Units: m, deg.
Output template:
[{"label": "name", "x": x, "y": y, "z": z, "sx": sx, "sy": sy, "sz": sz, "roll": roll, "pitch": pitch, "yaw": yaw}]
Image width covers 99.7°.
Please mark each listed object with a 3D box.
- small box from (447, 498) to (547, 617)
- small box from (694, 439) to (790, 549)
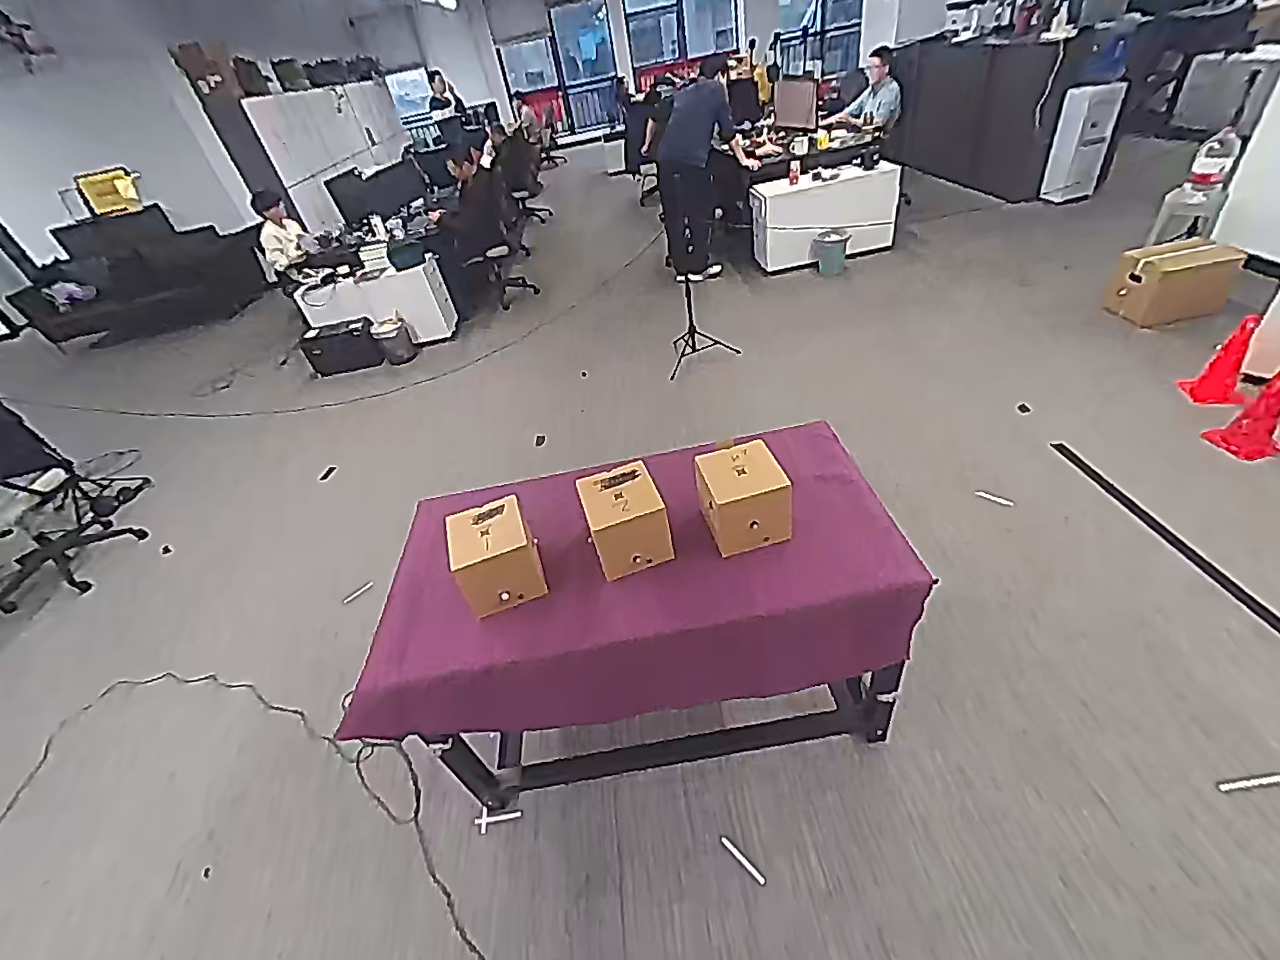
[{"label": "small box", "x": -0.323, "y": 0.175, "z": 1.224, "sx": 0.168, "sy": 0.176, "sz": 0.179, "roll": -20, "pitch": 40, "yaw": -8}, {"label": "small box", "x": 0.233, "y": 0.038, "z": 1.232, "sx": 0.168, "sy": 0.176, "sz": 0.179, "roll": -15, "pitch": 39, "yaw": -3}]
